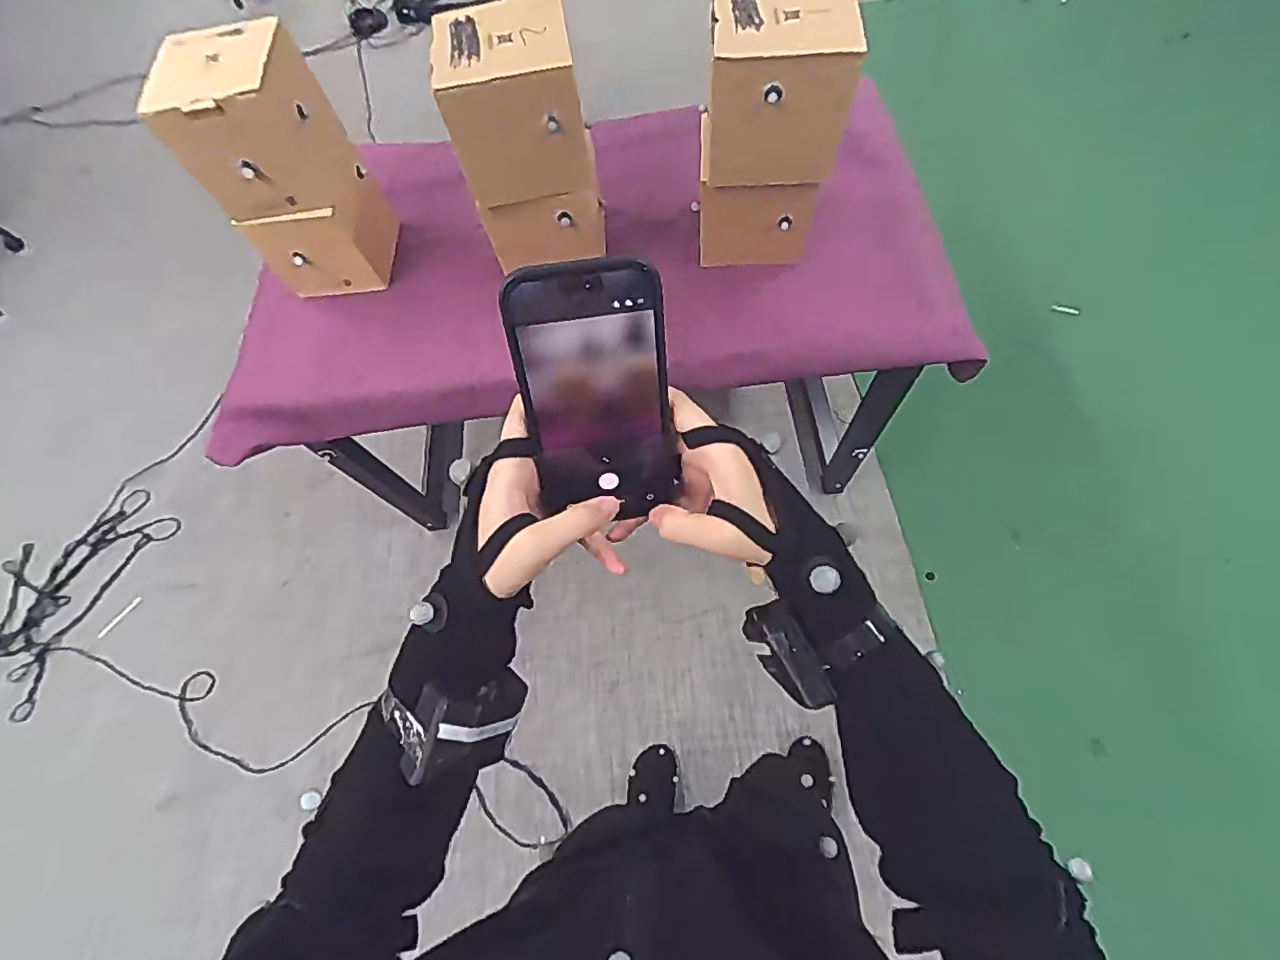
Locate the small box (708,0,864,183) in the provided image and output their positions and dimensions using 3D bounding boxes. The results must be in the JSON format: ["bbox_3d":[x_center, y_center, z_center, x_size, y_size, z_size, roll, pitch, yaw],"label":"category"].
[{"bbox_3d":[0.180,-0.524,0.723,0.179,0.176,0.168,1,66,6],"label":"small box"}]

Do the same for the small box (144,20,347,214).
[{"bbox_3d":[-0.559,-0.518,0.795,0.168,0.176,0.179,-9,67,1],"label":"small box"}]

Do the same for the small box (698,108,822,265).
[{"bbox_3d":[0.186,-0.473,0.879,0.179,0.176,0.168,1,66,7],"label":"small box"}]

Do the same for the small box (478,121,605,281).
[{"bbox_3d":[-0.153,-0.459,0.906,0.179,0.176,0.168,-5,66,4],"label":"small box"}]

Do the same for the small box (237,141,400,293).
[{"bbox_3d":[-0.543,-0.446,0.941,0.168,0.176,0.179,-4,66,4],"label":"small box"}]
